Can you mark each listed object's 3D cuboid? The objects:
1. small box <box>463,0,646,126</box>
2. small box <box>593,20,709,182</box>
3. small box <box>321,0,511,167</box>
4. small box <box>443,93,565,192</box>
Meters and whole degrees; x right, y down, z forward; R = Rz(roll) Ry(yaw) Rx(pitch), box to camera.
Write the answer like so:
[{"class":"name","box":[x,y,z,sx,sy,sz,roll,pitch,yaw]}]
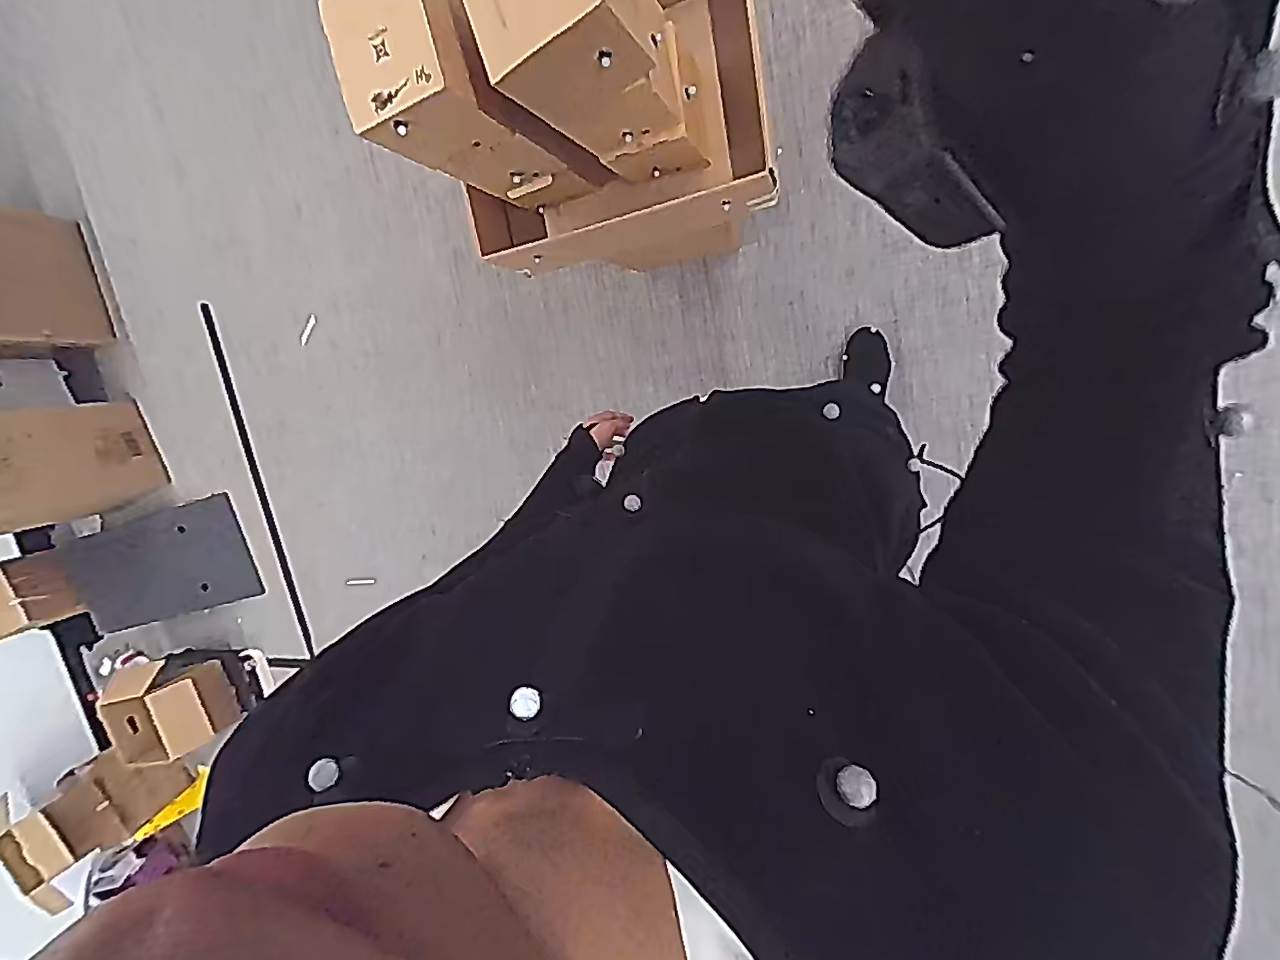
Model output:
[{"class":"small box","box":[-0.107,-0.613,0.707,0.179,0.176,0.168,-16,95,25]},{"class":"small box","box":[0.022,-0.684,1.001,0.168,0.176,0.179,-3,102,24]},{"class":"small box","box":[-0.315,-0.596,0.787,0.168,0.176,0.179,-8,99,23]},{"class":"small box","box":[-0.252,-0.633,0.936,0.168,0.176,0.179,-9,100,22]}]
